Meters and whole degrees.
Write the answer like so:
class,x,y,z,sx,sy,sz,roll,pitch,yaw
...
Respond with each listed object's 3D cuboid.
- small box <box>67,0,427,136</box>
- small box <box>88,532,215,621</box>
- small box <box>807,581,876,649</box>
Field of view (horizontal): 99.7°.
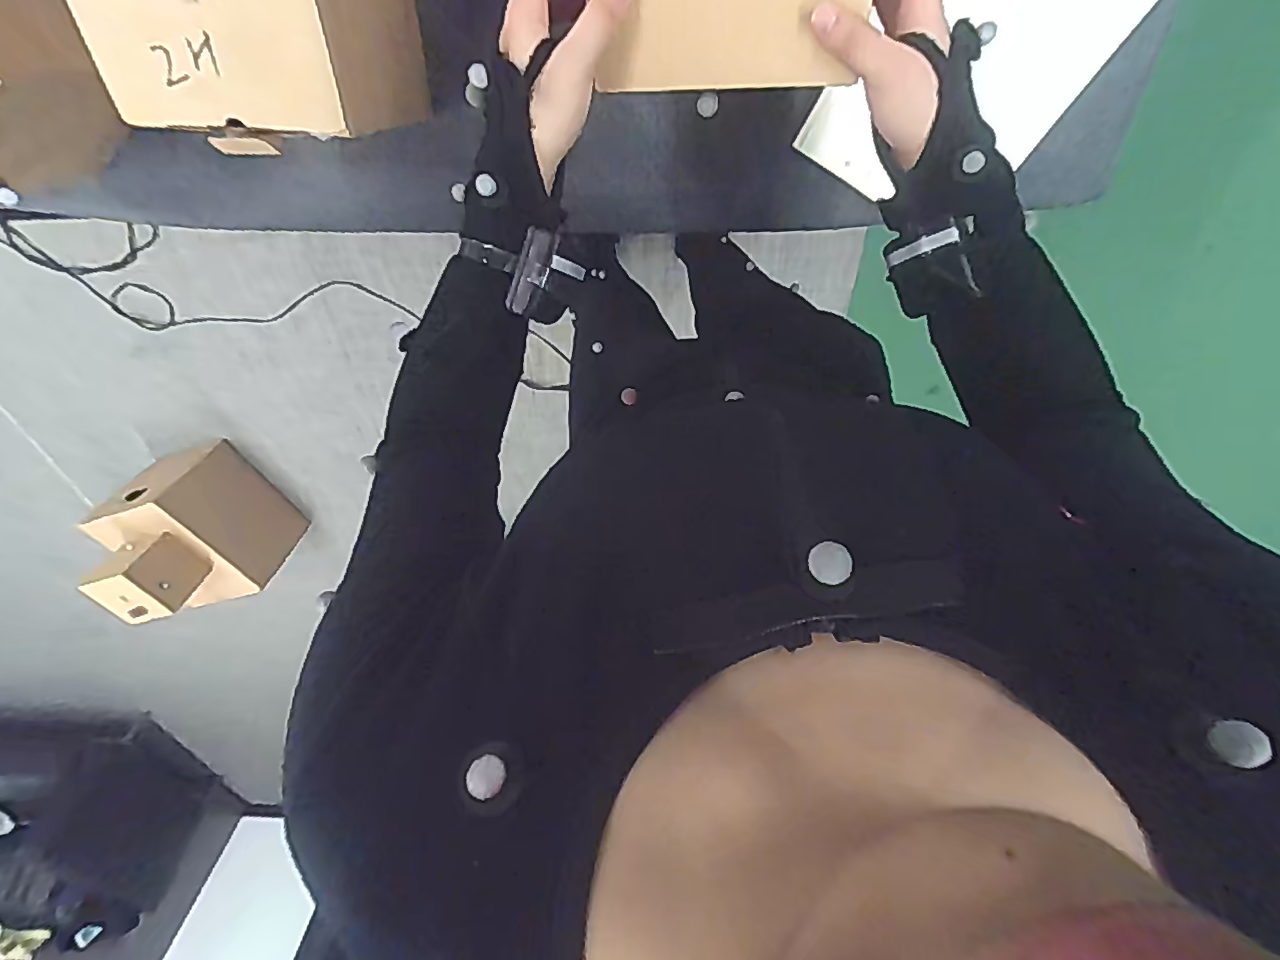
class,x,y,z,sx,sy,sz,roll,pitch,yaw
small box,-0.280,-0.368,0.398,0.168,0.176,0.179,4,129,2
small box,-1.392,0.276,1.558,0.168,0.176,0.179,-15,126,14
small box,0.690,0.465,1.870,0.179,0.176,0.168,1,130,5
